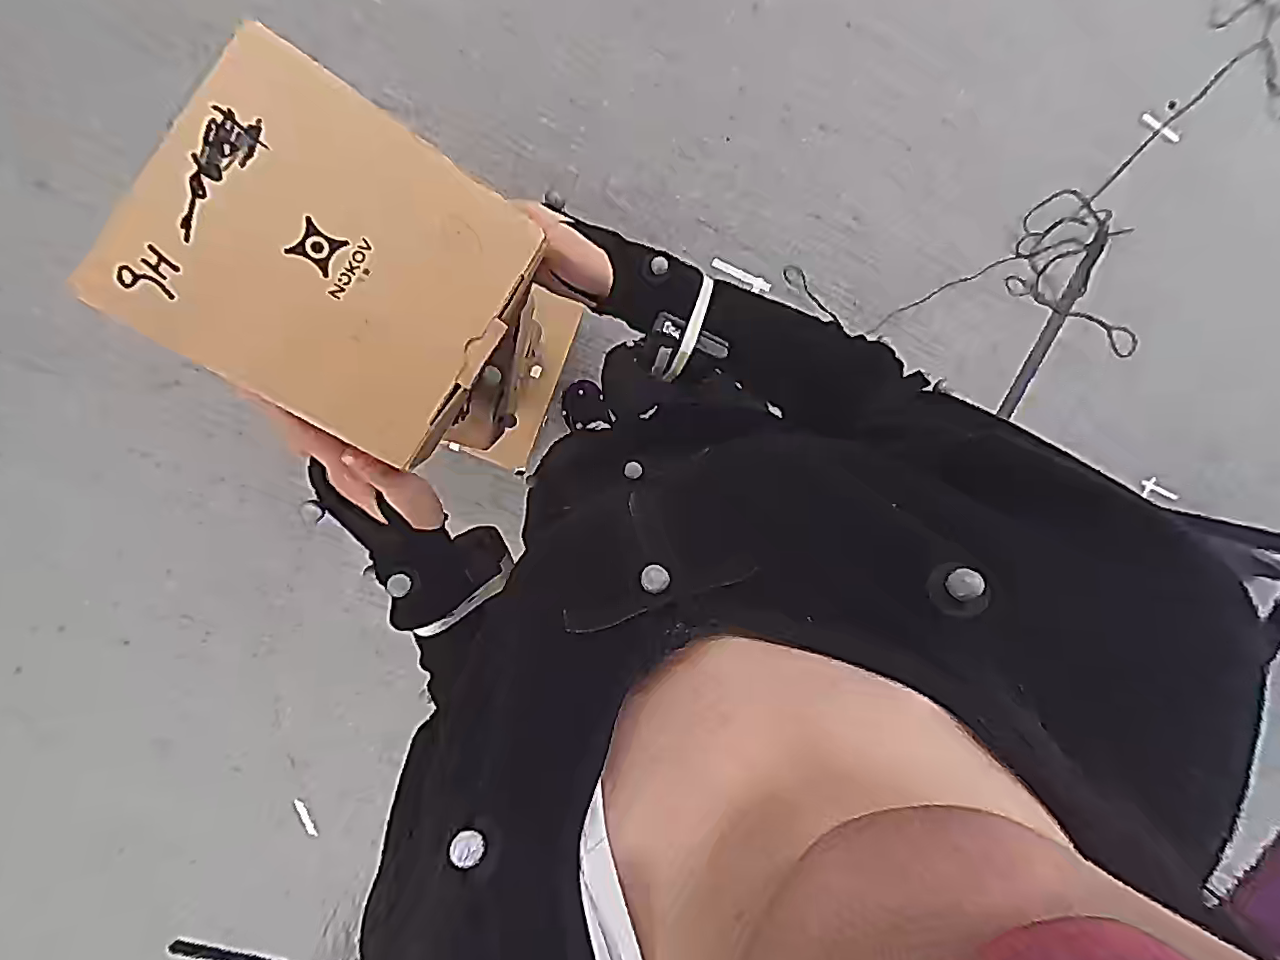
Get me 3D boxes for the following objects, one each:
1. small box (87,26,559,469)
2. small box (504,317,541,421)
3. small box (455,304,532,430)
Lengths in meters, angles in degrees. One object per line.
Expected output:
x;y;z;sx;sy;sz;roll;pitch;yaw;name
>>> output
-0.181;-0.127;0.368;0.179;0.176;0.168;32;86;-18;small box
-0.268;-0.207;0.885;0.179;0.176;0.168;19;96;-10;small box
-0.249;-0.174;0.724;0.179;0.176;0.168;15;97;-11;small box
